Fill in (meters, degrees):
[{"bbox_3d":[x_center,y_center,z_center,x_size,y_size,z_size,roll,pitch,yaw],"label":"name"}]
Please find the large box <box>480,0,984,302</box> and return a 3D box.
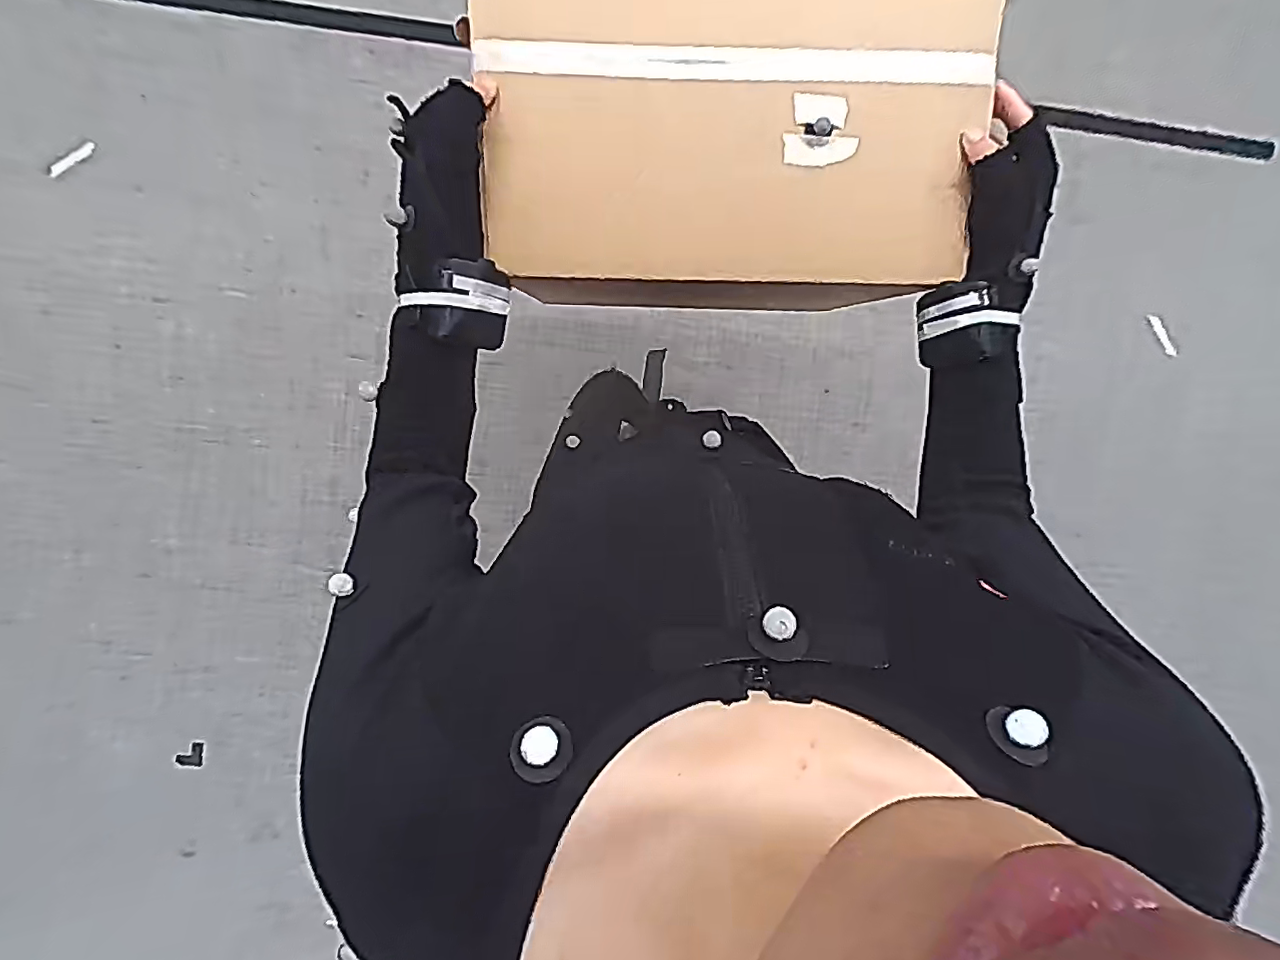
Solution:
[{"bbox_3d":[0.067,-0.368,0.579,0.408,0.320,0.320,0,104,-2],"label":"large box"}]
